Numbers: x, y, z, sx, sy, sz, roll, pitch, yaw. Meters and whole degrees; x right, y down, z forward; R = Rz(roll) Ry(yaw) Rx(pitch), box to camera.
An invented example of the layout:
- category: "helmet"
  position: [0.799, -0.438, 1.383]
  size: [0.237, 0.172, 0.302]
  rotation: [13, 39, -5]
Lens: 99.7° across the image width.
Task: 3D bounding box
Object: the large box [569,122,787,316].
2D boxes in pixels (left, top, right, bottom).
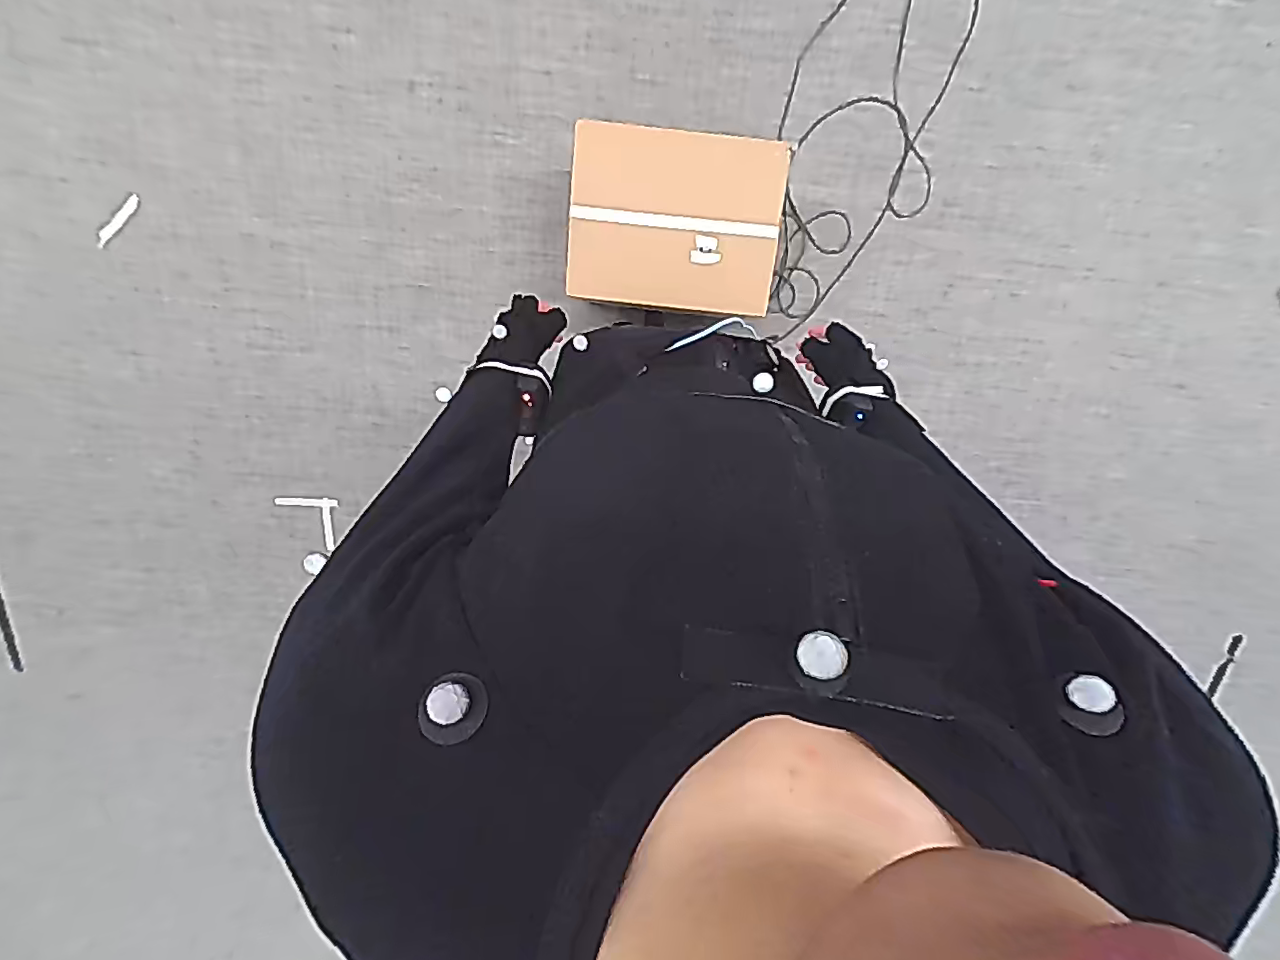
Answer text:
- category: "large box"
  position: [0.065, -0.541, 1.191]
  size: [0.408, 0.320, 0.320]
  rotation: [6, 107, -2]
